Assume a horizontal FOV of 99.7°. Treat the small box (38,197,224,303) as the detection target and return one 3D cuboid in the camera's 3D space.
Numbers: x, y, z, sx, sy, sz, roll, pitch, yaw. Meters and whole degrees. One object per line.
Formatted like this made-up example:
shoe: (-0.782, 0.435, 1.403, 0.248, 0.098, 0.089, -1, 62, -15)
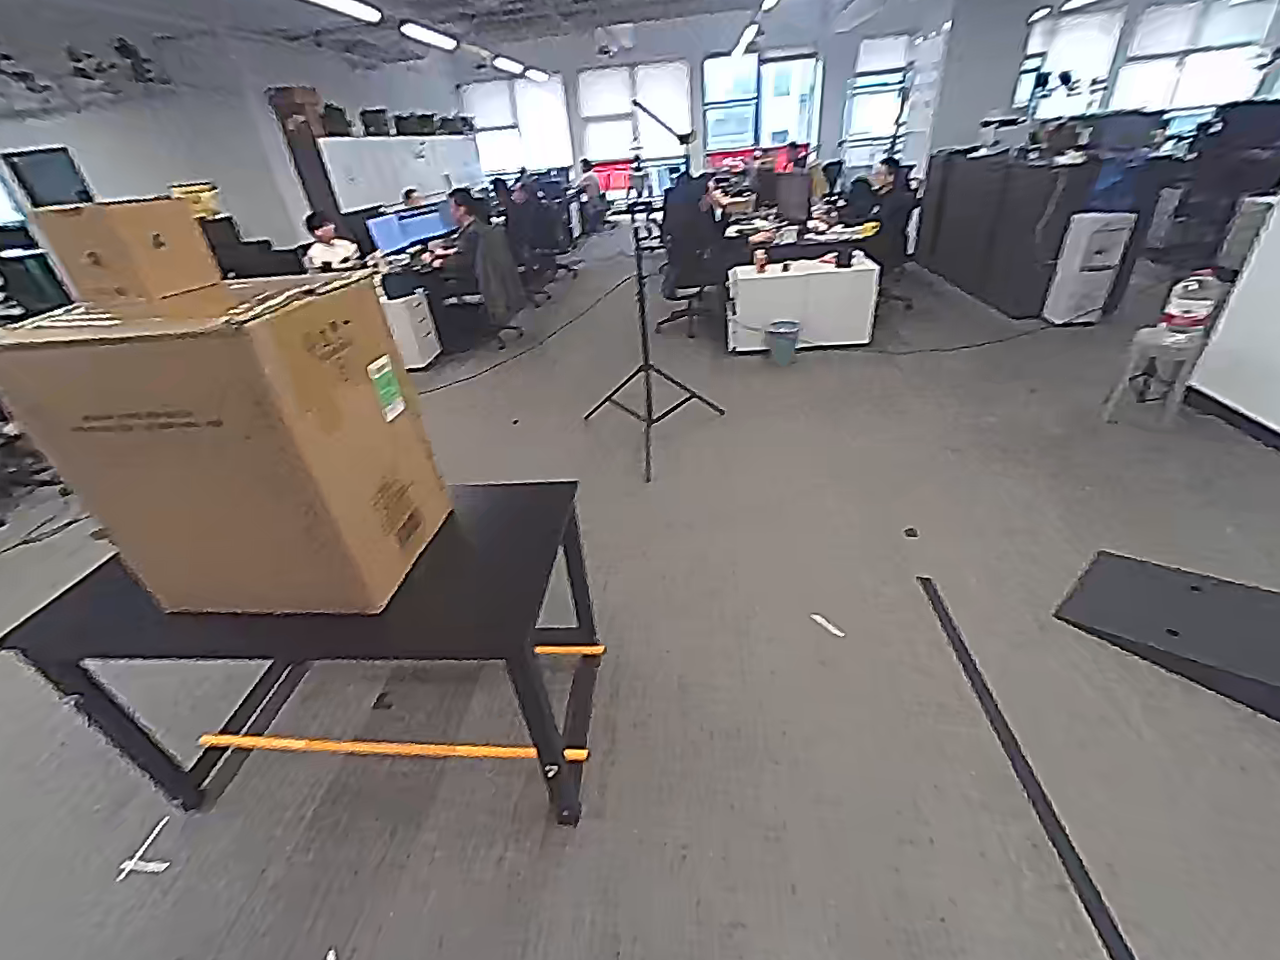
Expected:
small box: (-0.987, -0.453, 1.071, 0.168, 0.176, 0.179, 0, 31, 8)
